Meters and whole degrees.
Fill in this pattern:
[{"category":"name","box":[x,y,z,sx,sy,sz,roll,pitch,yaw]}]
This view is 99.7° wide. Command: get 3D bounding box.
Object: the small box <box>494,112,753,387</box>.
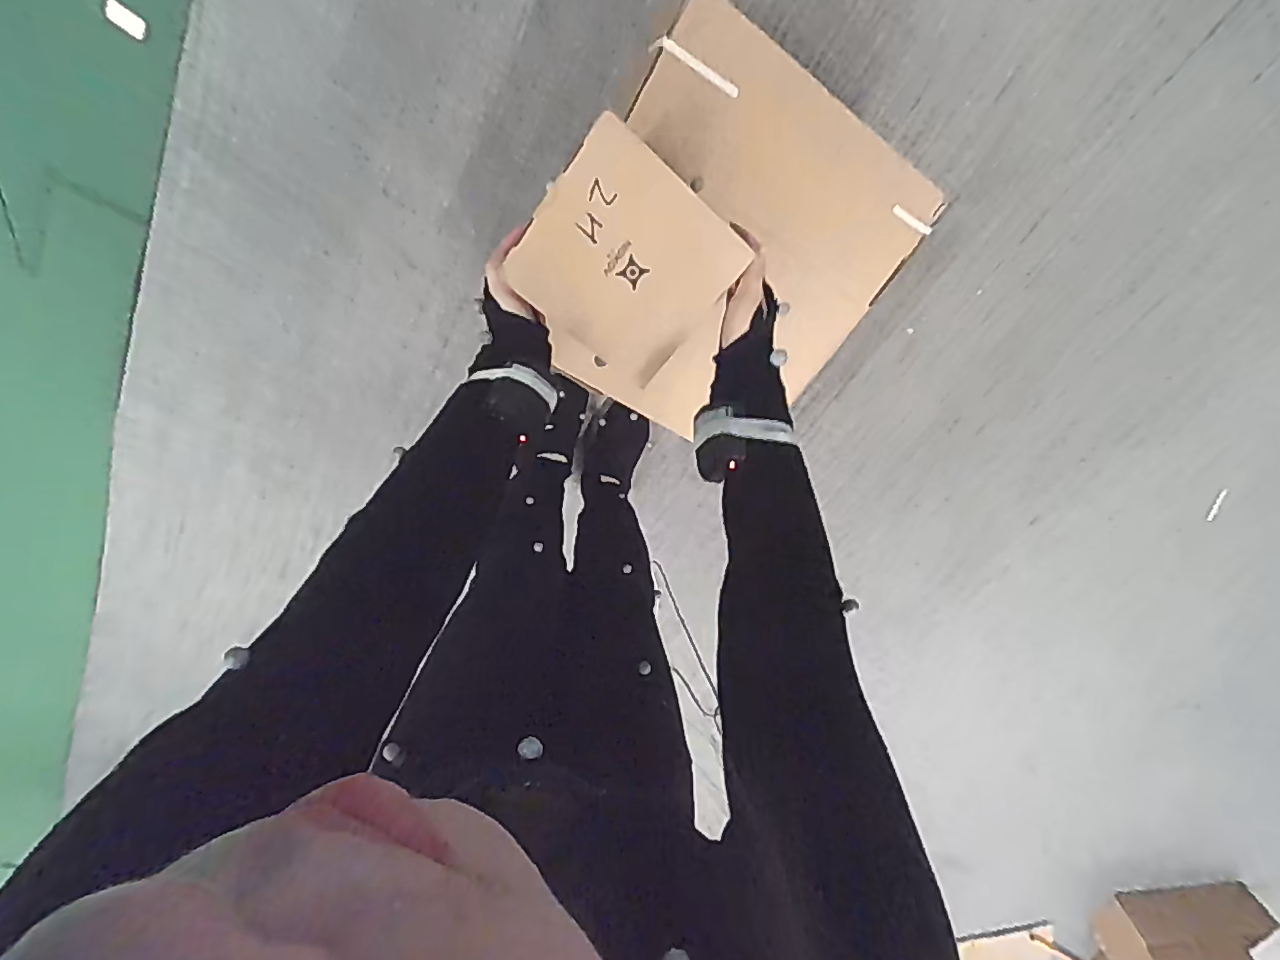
[{"category":"small box","box":[-0.016,-0.232,0.553,0.179,0.176,0.168,37,111,-20]}]
